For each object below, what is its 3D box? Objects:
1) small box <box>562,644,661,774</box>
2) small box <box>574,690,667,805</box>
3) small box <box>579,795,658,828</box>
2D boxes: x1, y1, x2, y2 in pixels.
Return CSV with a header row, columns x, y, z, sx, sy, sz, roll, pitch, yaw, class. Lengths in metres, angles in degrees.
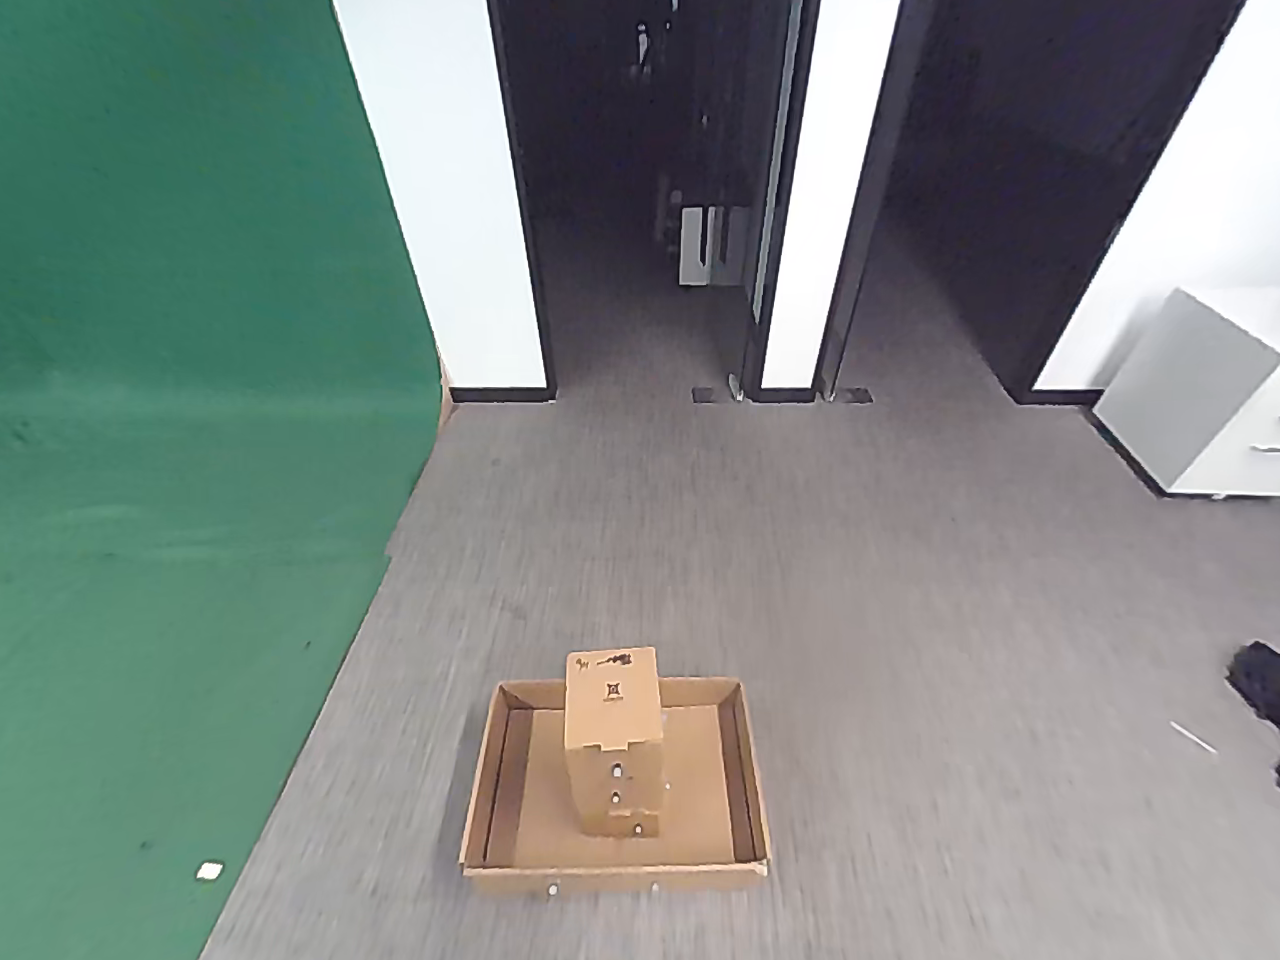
x,y,z,sx,sy,sz,roll,pitch,yaw,class
-0.049,0.430,1.007,0.168,0.176,0.179,-3,43,-2,small box
-0.042,0.552,1.116,0.179,0.176,0.168,-3,43,-3,small box
-0.042,0.670,1.229,0.168,0.176,0.179,0,42,1,small box
